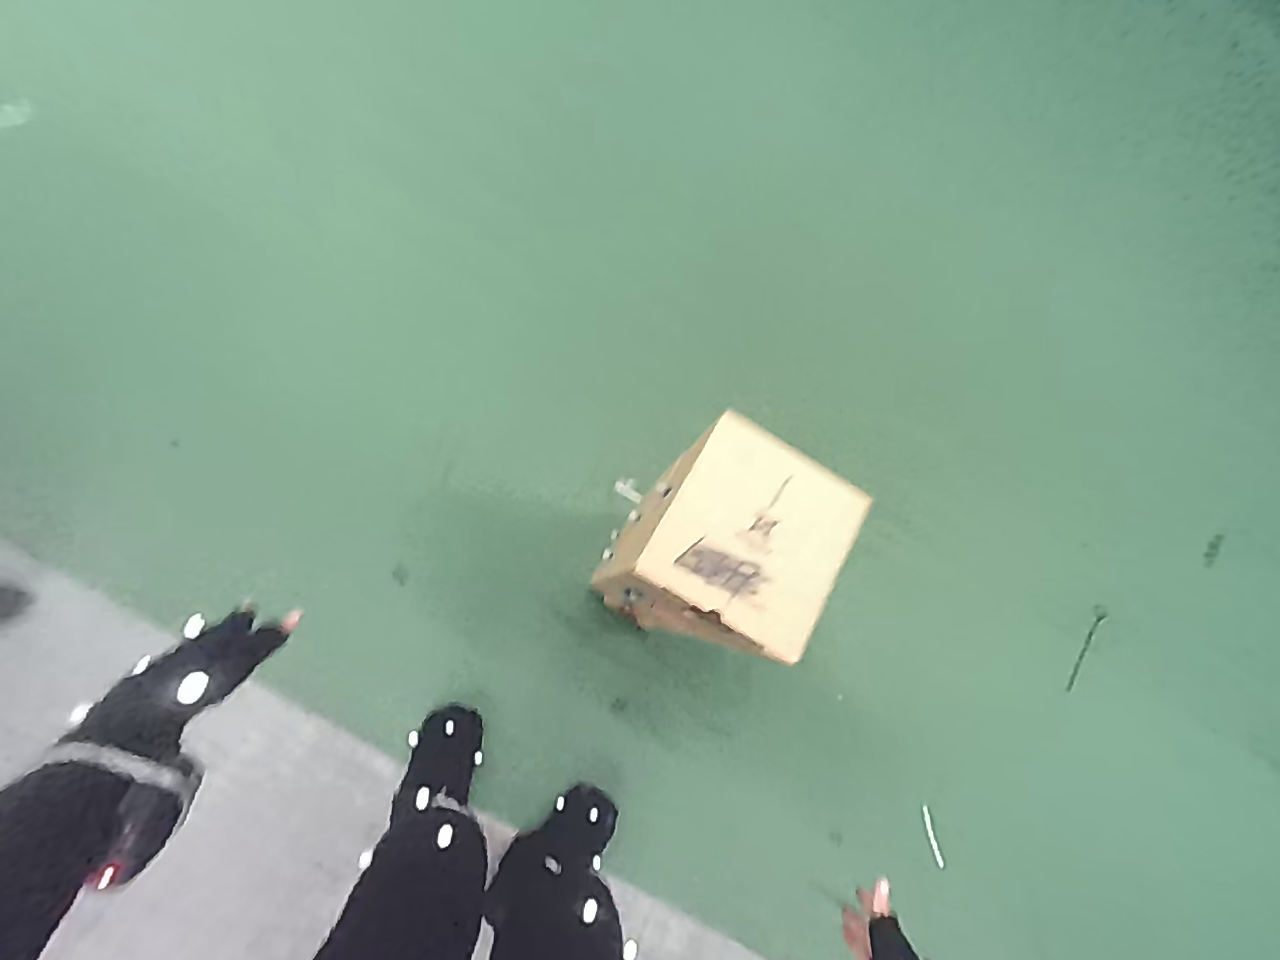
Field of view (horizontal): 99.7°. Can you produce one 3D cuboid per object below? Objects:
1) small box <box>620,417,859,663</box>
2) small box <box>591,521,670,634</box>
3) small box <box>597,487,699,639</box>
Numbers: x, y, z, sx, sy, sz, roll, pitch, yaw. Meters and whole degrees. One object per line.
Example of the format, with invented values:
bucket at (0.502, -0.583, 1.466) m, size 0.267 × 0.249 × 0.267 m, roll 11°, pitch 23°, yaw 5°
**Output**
small box at (0.090, 0.068, 0.576) m, size 0.168 × 0.176 × 0.179 m, roll 32°, pitch 74°, yaw -2°
small box at (0.015, 0.176, 1.050) m, size 0.168 × 0.176 × 0.179 m, roll 33°, pitch 74°, yaw 0°
small box at (0.040, 0.139, 0.894) m, size 0.168 × 0.176 × 0.179 m, roll 31°, pitch 75°, yaw -2°
